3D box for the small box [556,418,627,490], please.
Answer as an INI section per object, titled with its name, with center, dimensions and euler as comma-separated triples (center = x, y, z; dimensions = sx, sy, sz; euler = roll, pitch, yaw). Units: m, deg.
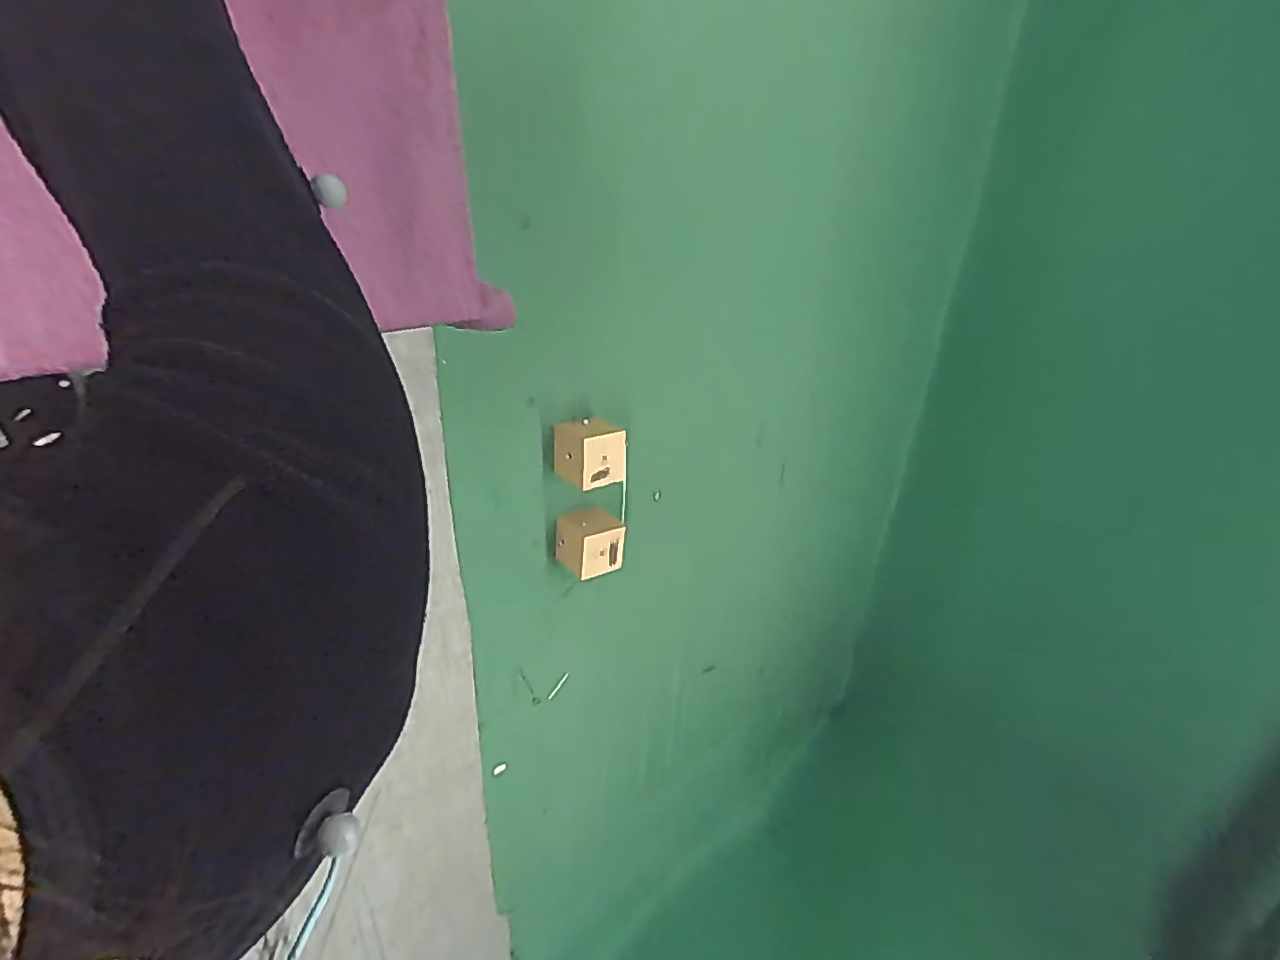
[small box]
center = -0.161, -0.090, 1.752
dimensions = 0.168, 0.176, 0.179
euler = -15, 119, -38
